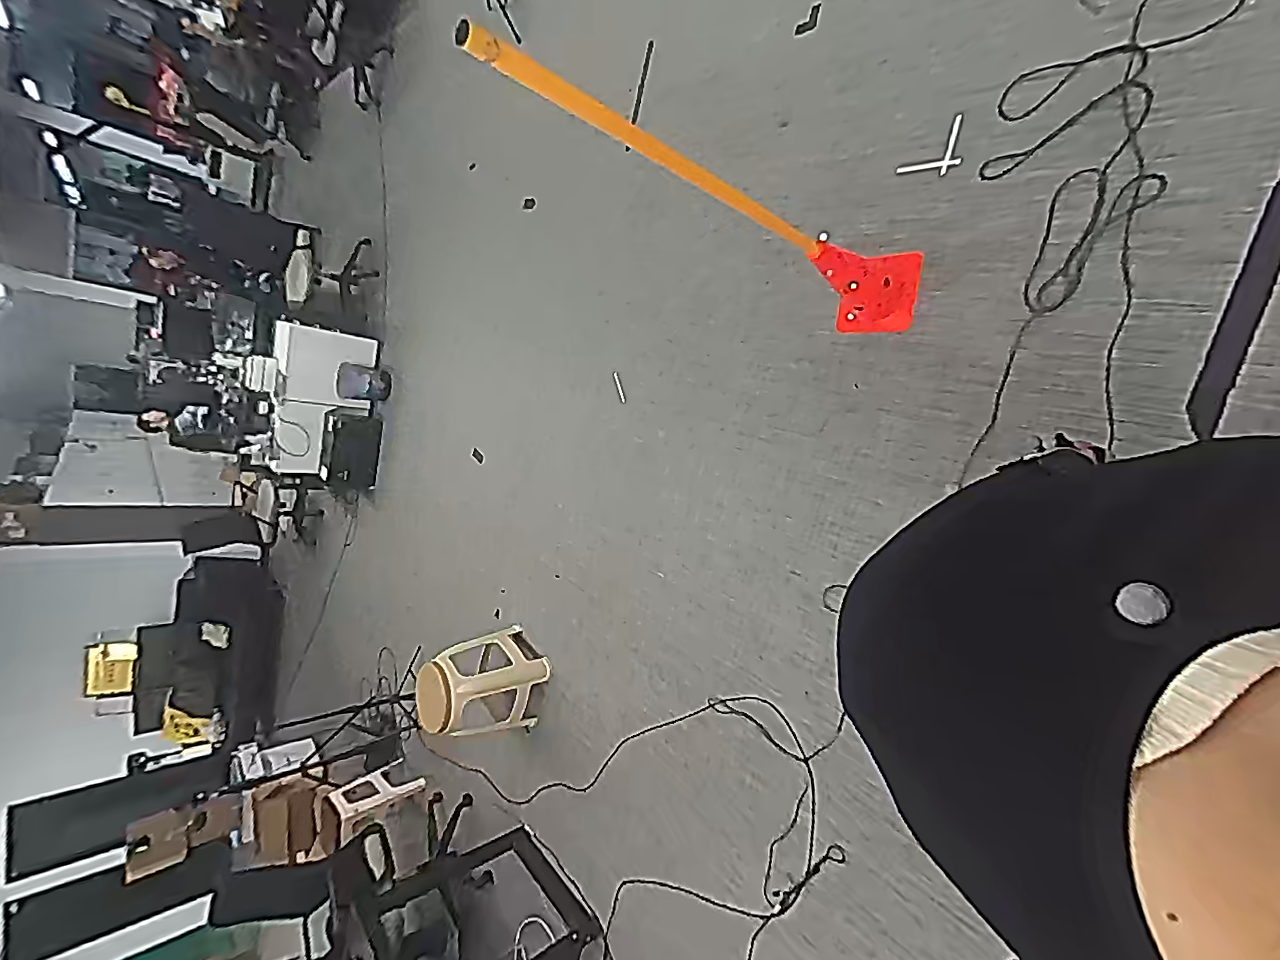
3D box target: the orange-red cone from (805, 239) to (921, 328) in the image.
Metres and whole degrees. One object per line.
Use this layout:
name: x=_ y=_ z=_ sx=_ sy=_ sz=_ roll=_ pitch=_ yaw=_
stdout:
orange-red cone: x=0.496 y=-0.499 z=1.288 sx=0.199 sy=0.360 sz=0.198 roll=15 pitch=99 yaw=43
